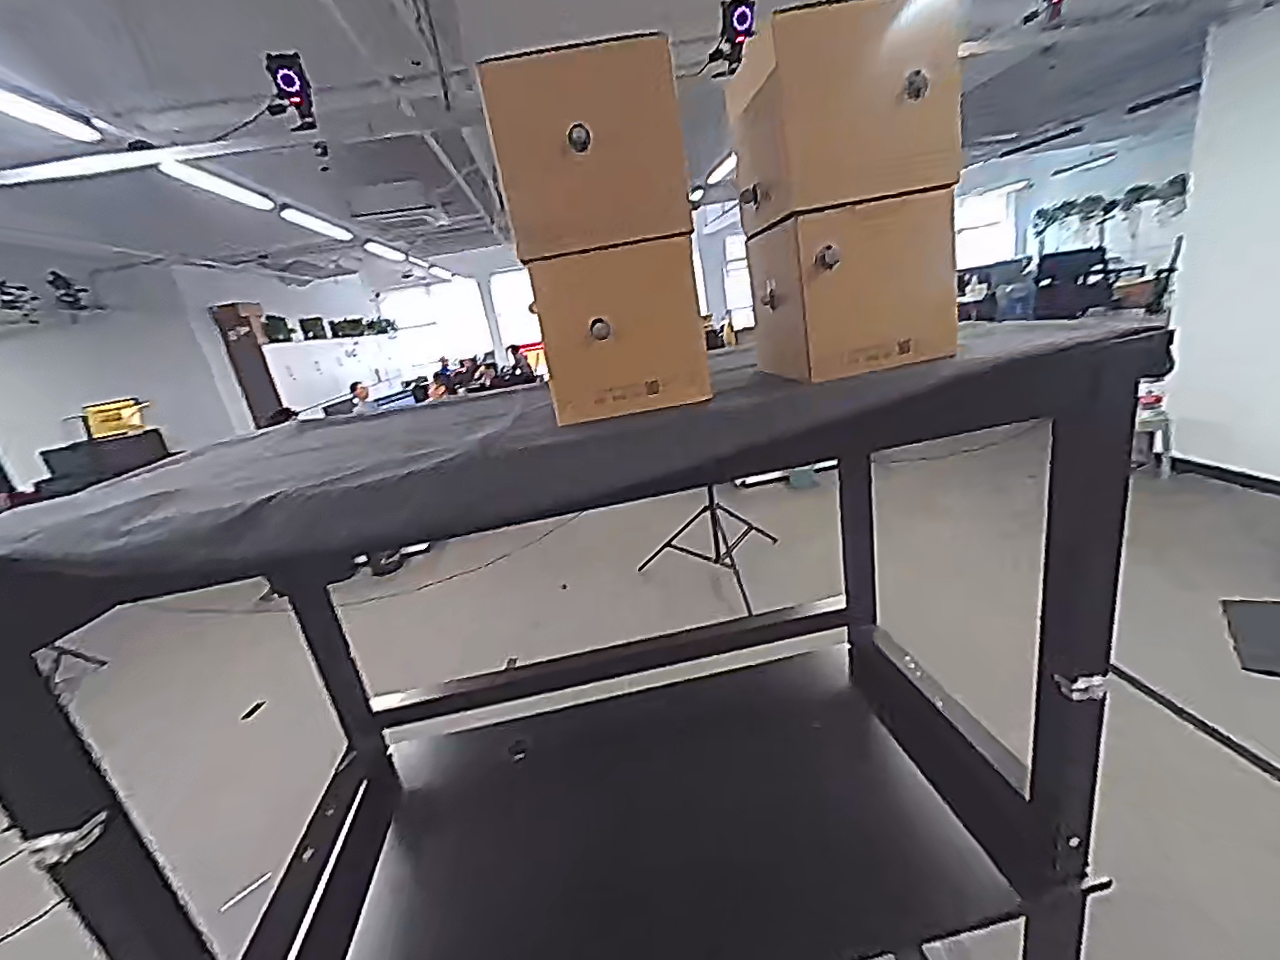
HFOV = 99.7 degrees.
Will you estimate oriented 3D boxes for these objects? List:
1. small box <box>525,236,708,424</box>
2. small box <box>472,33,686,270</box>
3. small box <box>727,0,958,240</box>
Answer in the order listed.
[{"bbox_3d":[-0.024,-0.166,0.625,0.168,0.176,0.179,-10,16,-1],"label":"small box"},{"bbox_3d":[-0.052,-0.318,0.569,0.179,0.176,0.168,-12,15,-1],"label":"small box"},{"bbox_3d":[0.205,-0.365,0.575,0.179,0.176,0.168,-12,15,-3],"label":"small box"}]
